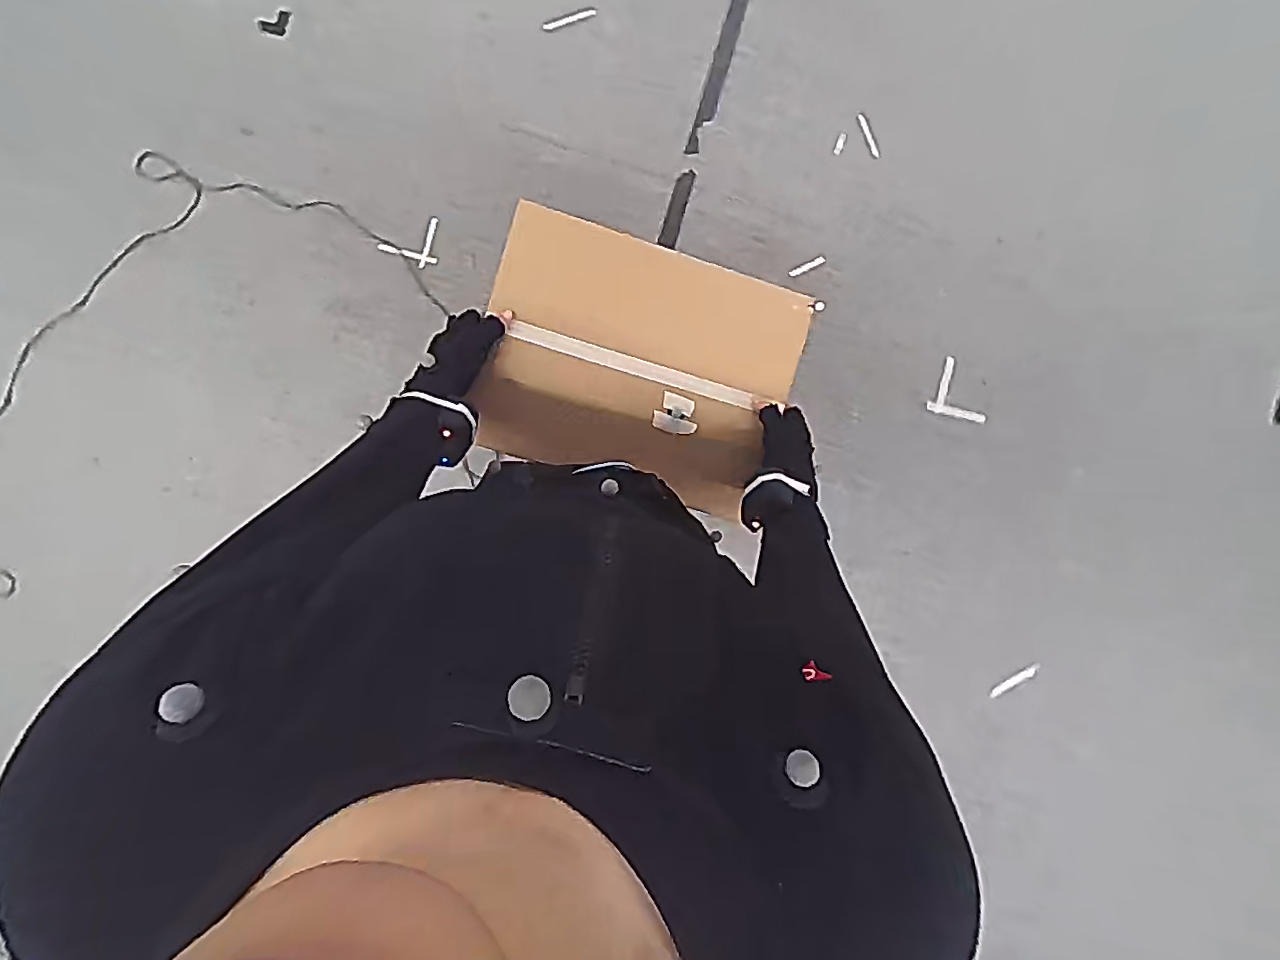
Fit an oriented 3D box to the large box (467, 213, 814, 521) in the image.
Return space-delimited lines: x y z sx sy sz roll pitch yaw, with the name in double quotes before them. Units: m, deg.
"large box" -0.009 -0.151 0.862 0.408 0.320 0.320 18 92 -6
